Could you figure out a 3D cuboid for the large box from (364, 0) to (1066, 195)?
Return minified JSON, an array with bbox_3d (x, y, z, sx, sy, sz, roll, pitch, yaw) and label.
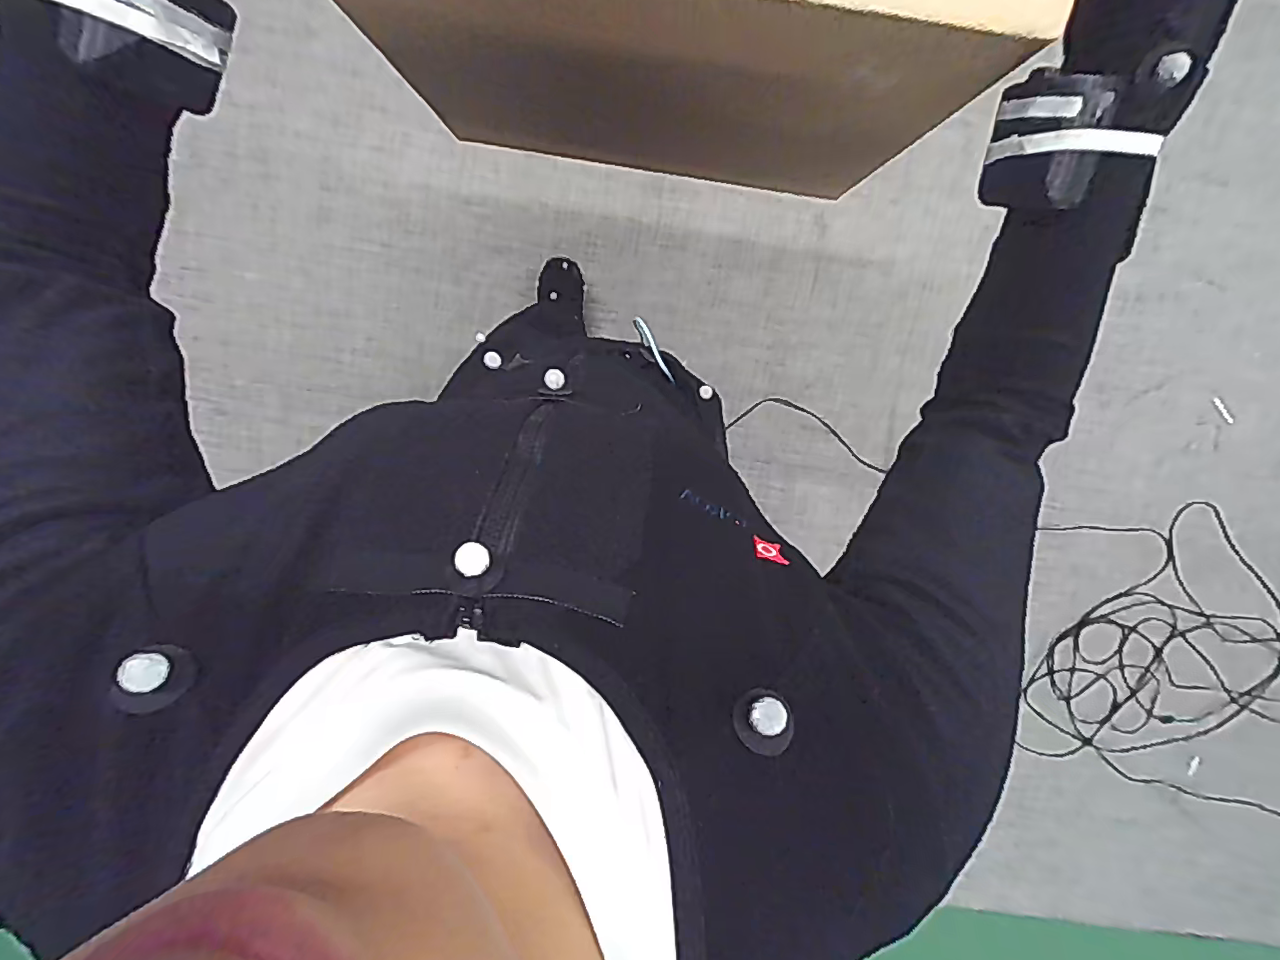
[{"bbox_3d":[0.038,-0.435,0.389,0.408,0.320,0.320,7,104,-3],"label":"large box"}]
